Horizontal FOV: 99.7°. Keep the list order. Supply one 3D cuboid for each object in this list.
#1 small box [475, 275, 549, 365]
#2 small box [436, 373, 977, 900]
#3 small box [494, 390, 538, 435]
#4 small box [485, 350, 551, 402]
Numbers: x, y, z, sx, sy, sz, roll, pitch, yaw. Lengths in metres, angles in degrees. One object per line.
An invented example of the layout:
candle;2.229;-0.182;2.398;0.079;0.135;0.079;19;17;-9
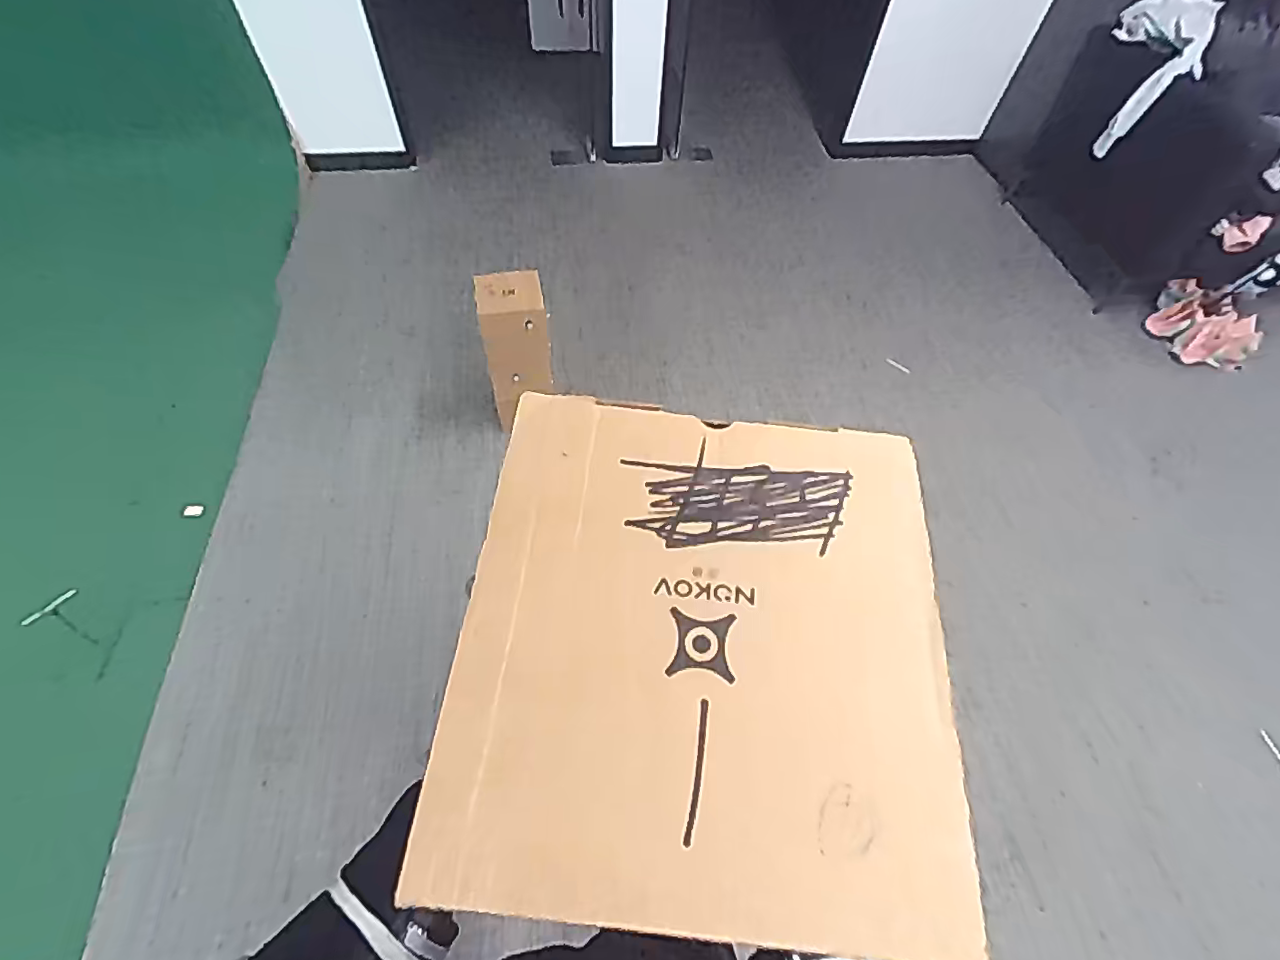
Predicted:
small box;-0.349;-0.442;1.501;0.179;0.176;0.168;-9;57;-9
small box;0.024;0.075;0.269;0.168;0.176;0.179;6;63;1
small box;-0.381;-0.269;1.780;0.179;0.176;0.168;-10;58;-8
small box;-0.366;-0.354;1.640;0.179;0.176;0.168;-10;59;-9
